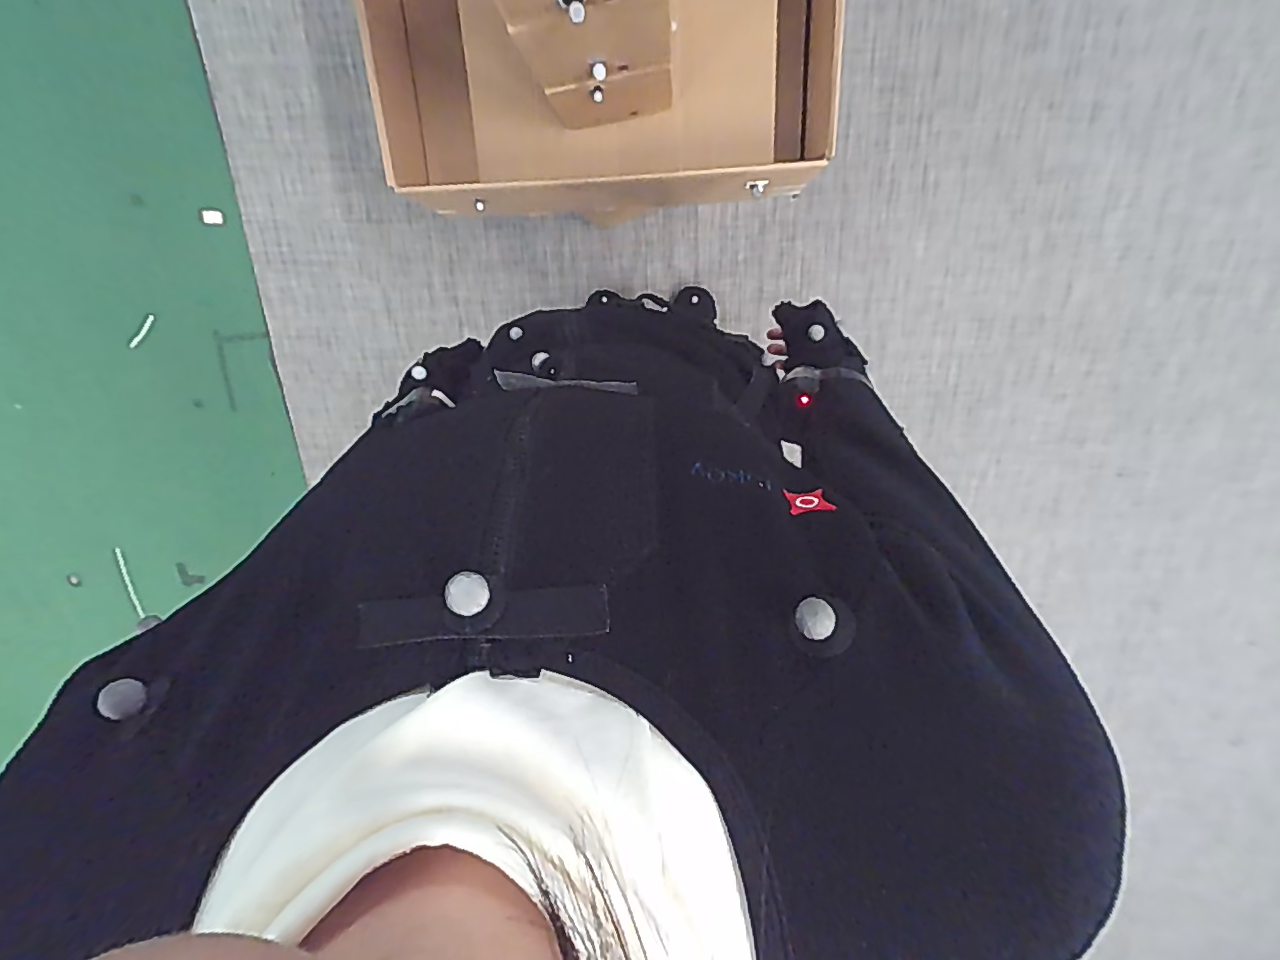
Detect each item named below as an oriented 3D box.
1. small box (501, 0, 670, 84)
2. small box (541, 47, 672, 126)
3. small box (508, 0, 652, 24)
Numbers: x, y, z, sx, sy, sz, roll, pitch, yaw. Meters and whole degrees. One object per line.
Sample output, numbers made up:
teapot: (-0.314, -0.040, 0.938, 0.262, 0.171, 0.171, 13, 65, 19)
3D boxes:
small box: (-0.059, -0.563, 0.573, 0.168, 0.176, 0.179, -6, 109, 7)
small box: (-0.049, -0.613, 0.728, 0.168, 0.176, 0.179, -7, 108, 8)
small box: (-0.064, -0.509, 0.420, 0.168, 0.176, 0.179, -6, 110, 8)
